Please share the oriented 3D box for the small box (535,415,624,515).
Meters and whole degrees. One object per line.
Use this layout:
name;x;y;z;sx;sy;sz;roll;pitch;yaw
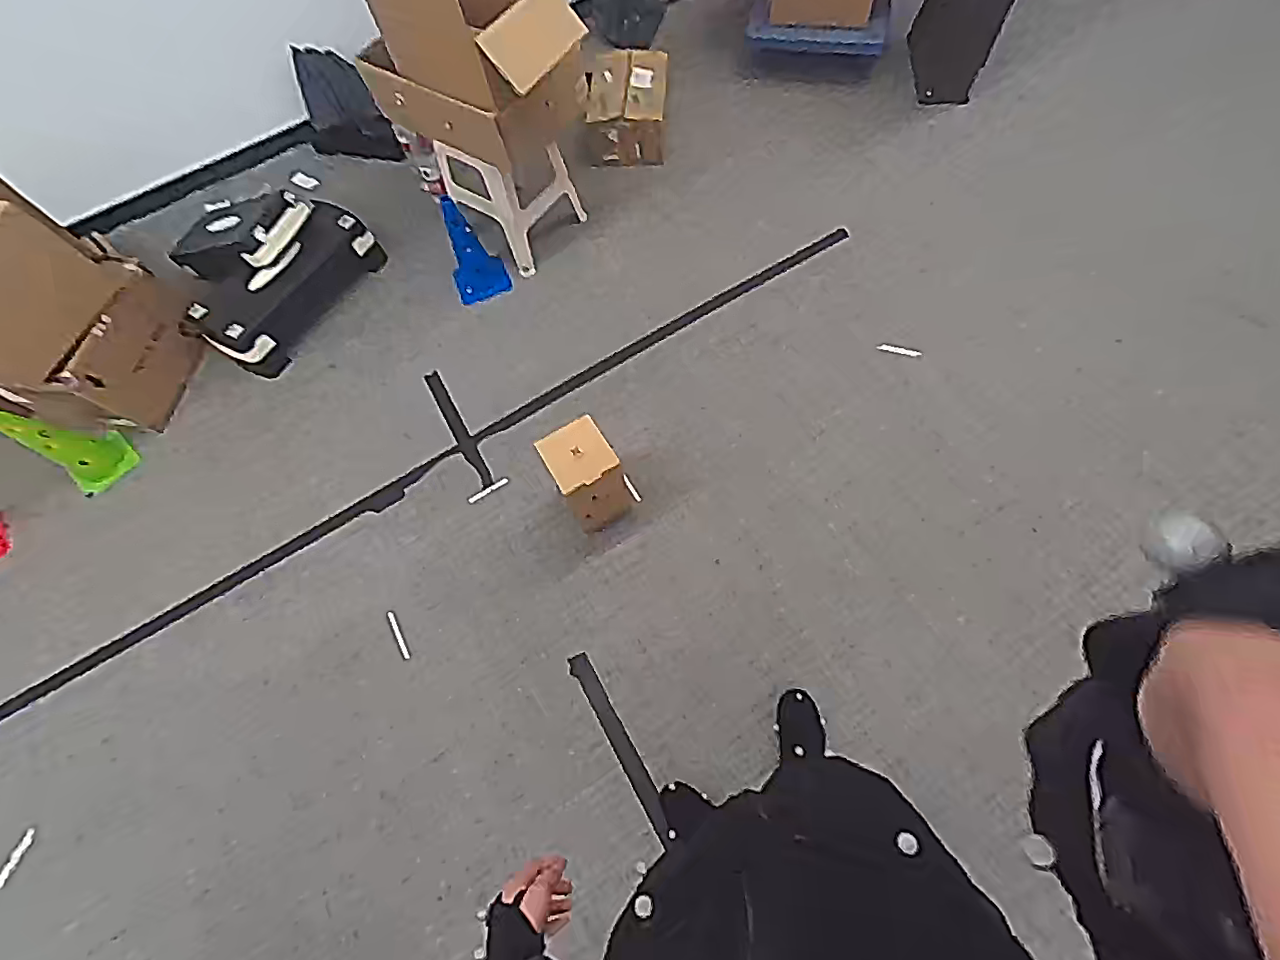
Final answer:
small box;-0.157;-0.035;1.453;0.168;0.176;0.179;-31;67;-9
